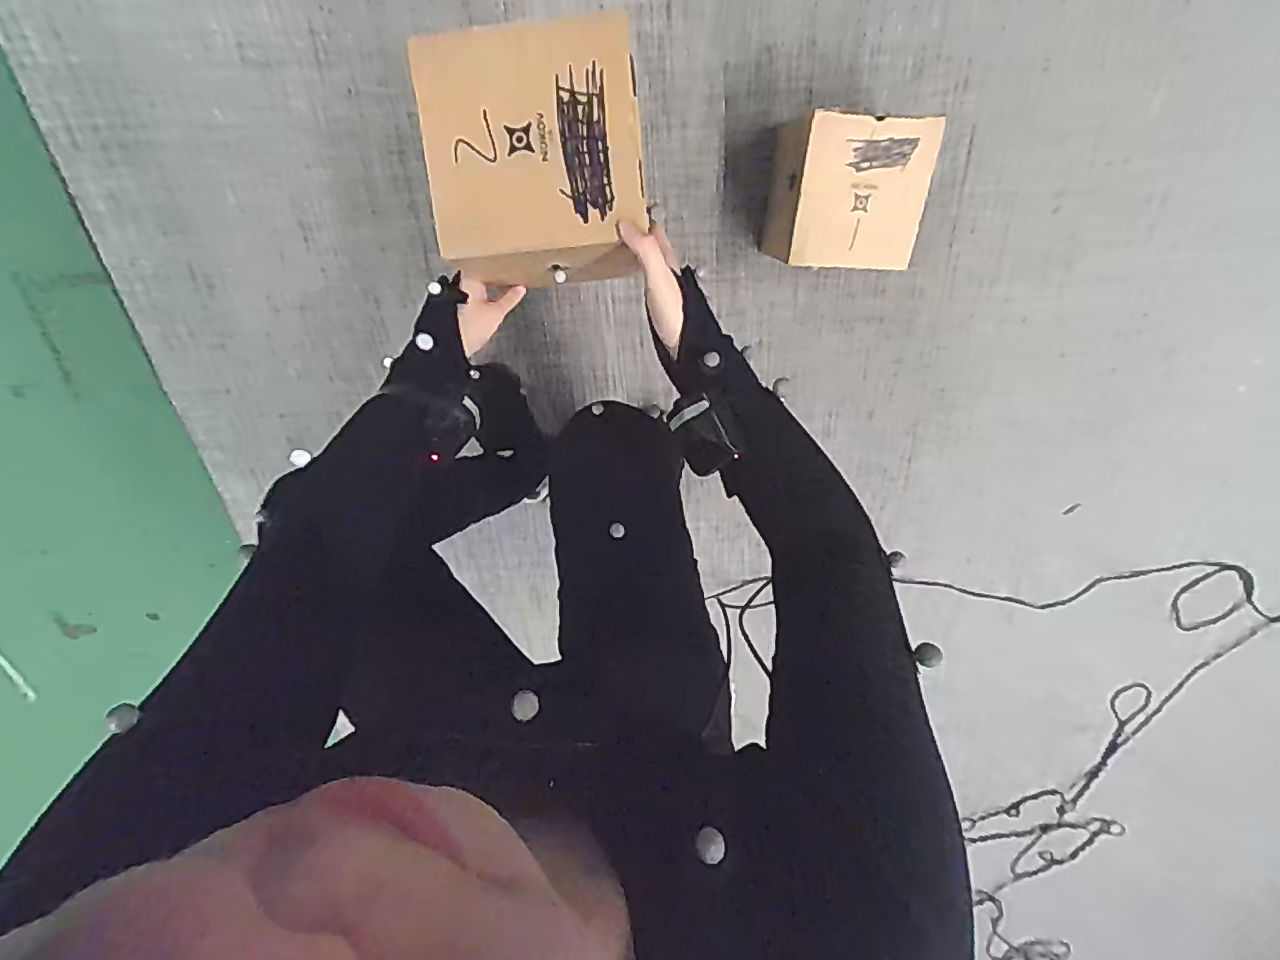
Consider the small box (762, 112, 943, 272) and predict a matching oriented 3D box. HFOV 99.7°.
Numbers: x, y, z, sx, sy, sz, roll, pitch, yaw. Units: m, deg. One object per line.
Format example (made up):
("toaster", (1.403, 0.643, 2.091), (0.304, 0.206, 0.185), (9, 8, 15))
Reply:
("small box", (0.278, -0.396, 0.756), (0.168, 0.176, 0.179), (1, 119, -3))
